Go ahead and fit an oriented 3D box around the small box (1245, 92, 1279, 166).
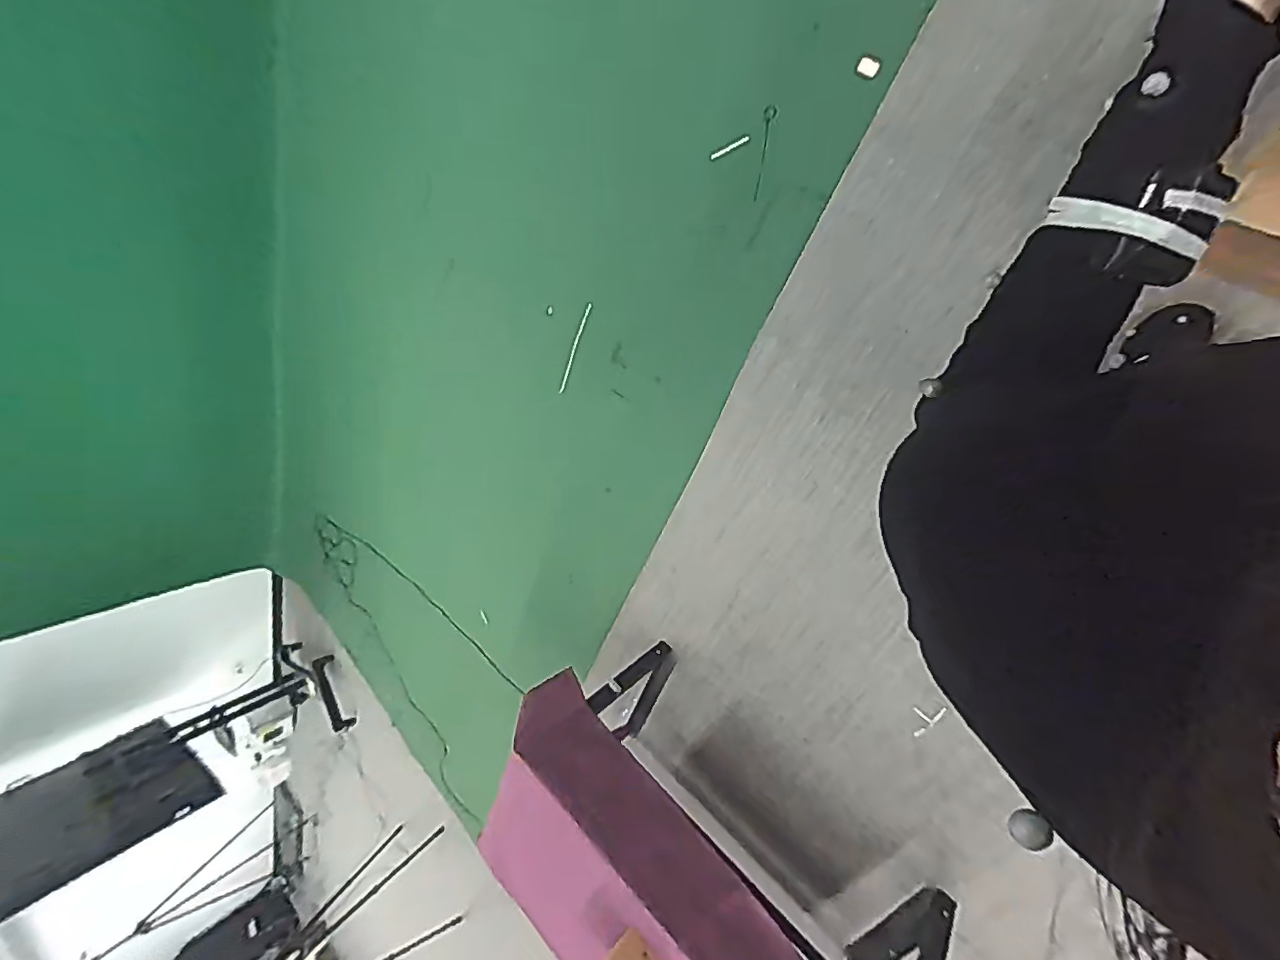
[{"bbox_3d":[0.774,-0.403,0.537,0.168,0.176,0.179,39,125,21],"label":"small box"}]
